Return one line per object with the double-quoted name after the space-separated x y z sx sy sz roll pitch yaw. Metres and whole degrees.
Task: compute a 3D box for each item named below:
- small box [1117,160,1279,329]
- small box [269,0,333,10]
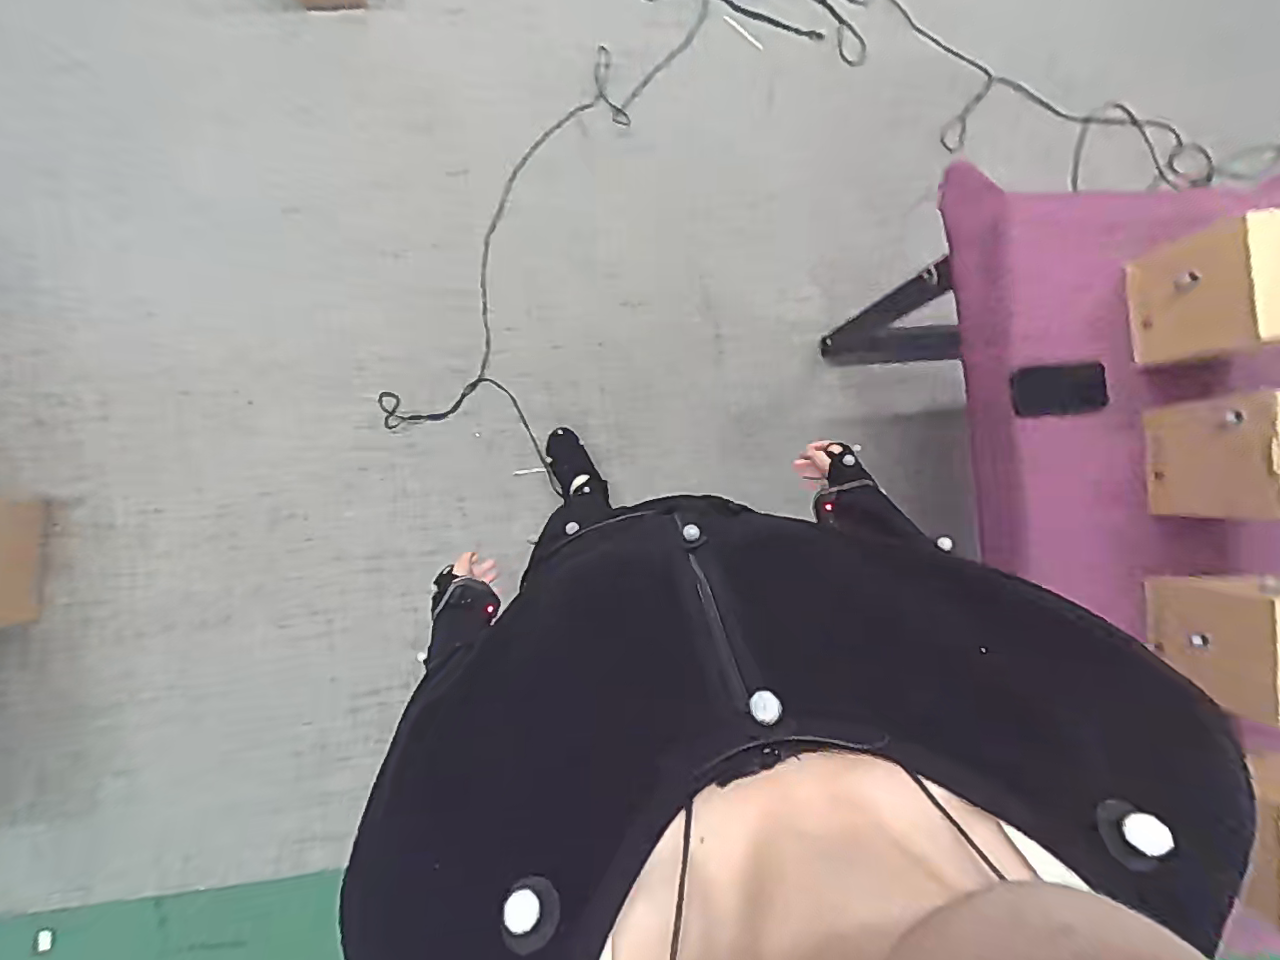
0.824 -0.322 0.762 0.179 0.176 0.168 -9 89 -5 "small box"
-0.896 -1.348 1.372 0.179 0.176 0.168 -8 89 -4 "small box"
